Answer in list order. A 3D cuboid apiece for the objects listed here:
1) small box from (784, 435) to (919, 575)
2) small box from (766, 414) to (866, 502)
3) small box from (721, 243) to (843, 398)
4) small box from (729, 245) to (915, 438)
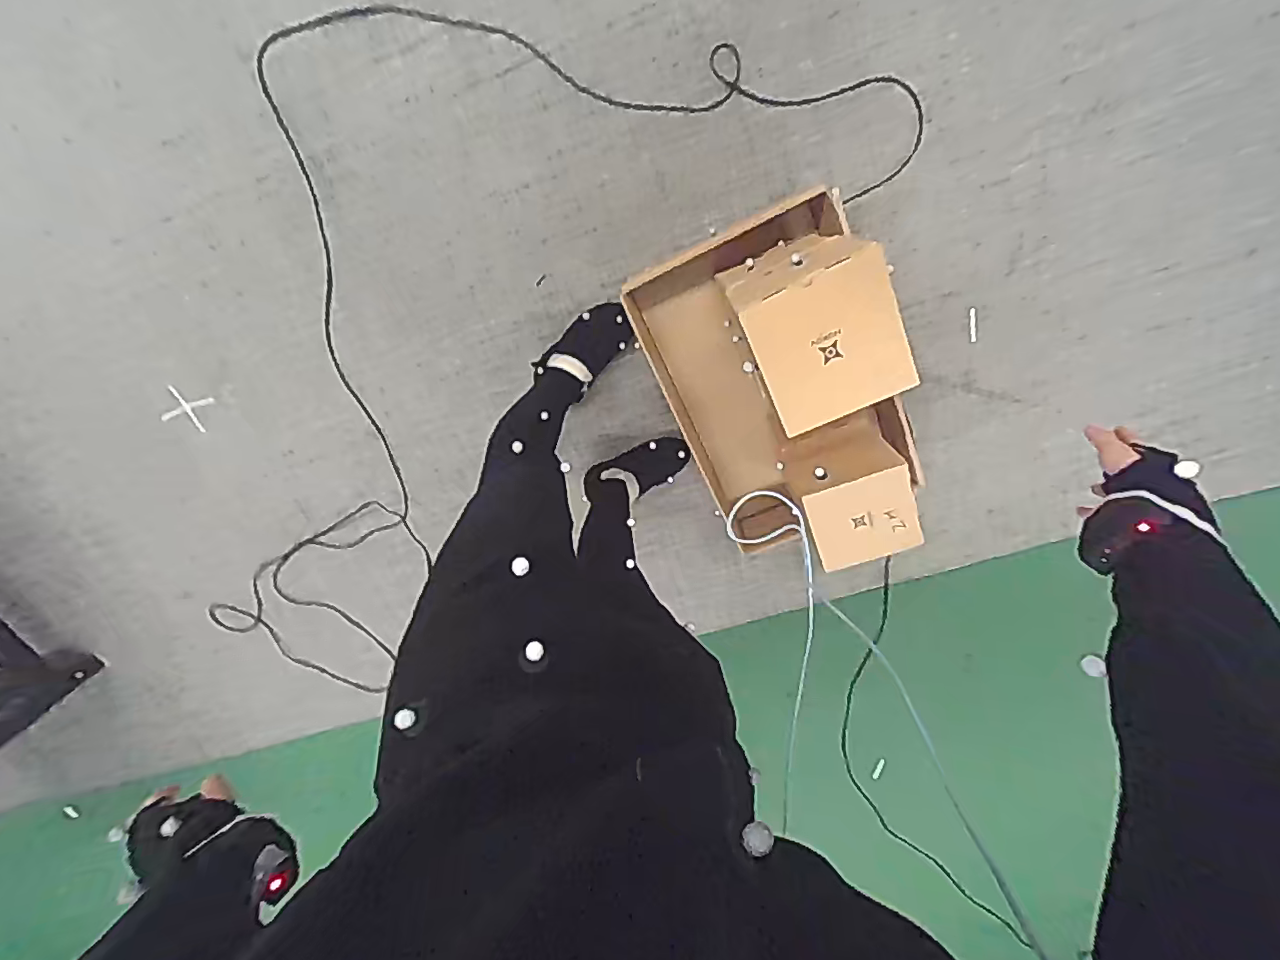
[{"bbox_3d":[0.370,0.040,0.977,0.179,0.176,0.168,-19,113,10],"label":"small box"},{"bbox_3d":[0.371,-0.043,1.121,0.168,0.176,0.179,-19,112,10],"label":"small box"},{"bbox_3d":[0.232,-0.255,0.849,0.168,0.176,0.179,-18,113,12],"label":"small box"},{"bbox_3d":[0.225,-0.186,0.702,0.168,0.176,0.179,-23,111,14],"label":"small box"}]
